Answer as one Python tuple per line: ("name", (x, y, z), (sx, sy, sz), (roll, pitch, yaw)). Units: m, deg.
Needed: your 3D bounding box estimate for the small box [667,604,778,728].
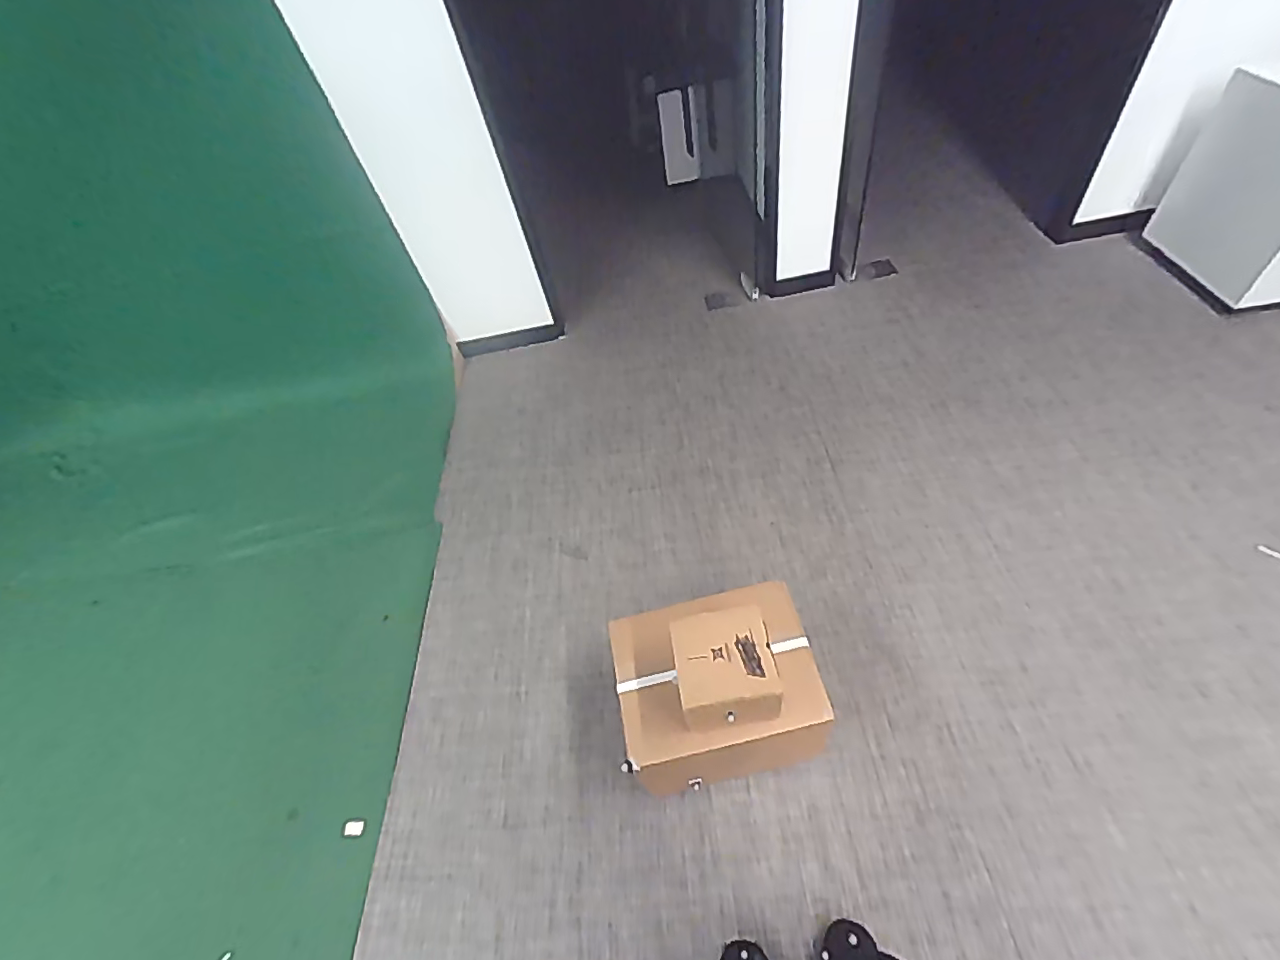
("small box", (0.155, 0.360, 1.037), (0.179, 0.176, 0.168), (-11, 51, 4))
